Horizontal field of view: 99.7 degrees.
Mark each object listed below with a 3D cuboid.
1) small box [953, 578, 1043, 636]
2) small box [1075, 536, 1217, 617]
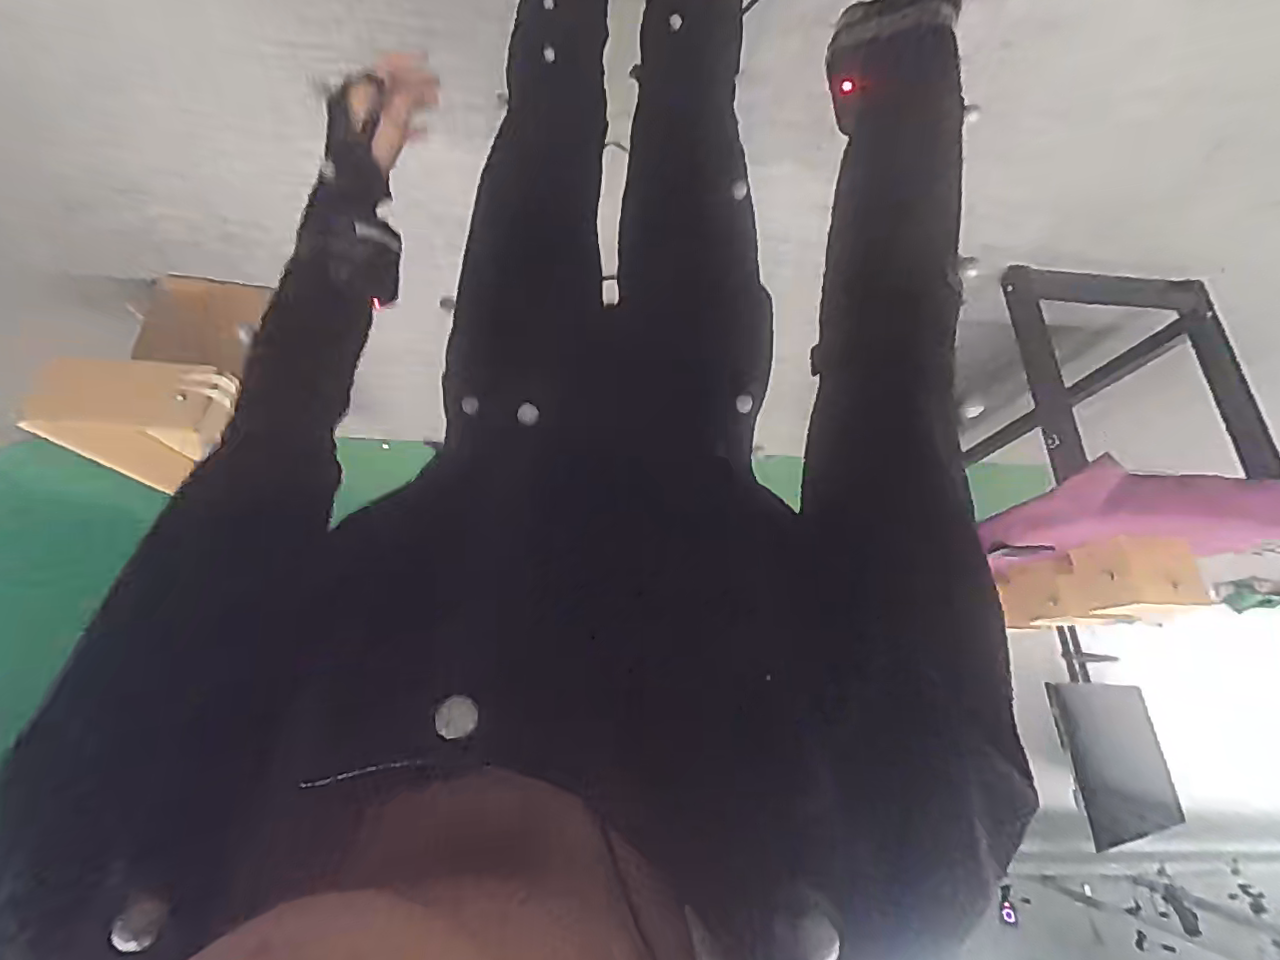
[{"bbox_3d":[1.184,0.424,1.805,0.179,0.176,0.168,4,159,-8],"label":"small box"},{"bbox_3d":[1.239,0.240,1.343,0.179,0.176,0.168,1,158,-2],"label":"small box"}]
